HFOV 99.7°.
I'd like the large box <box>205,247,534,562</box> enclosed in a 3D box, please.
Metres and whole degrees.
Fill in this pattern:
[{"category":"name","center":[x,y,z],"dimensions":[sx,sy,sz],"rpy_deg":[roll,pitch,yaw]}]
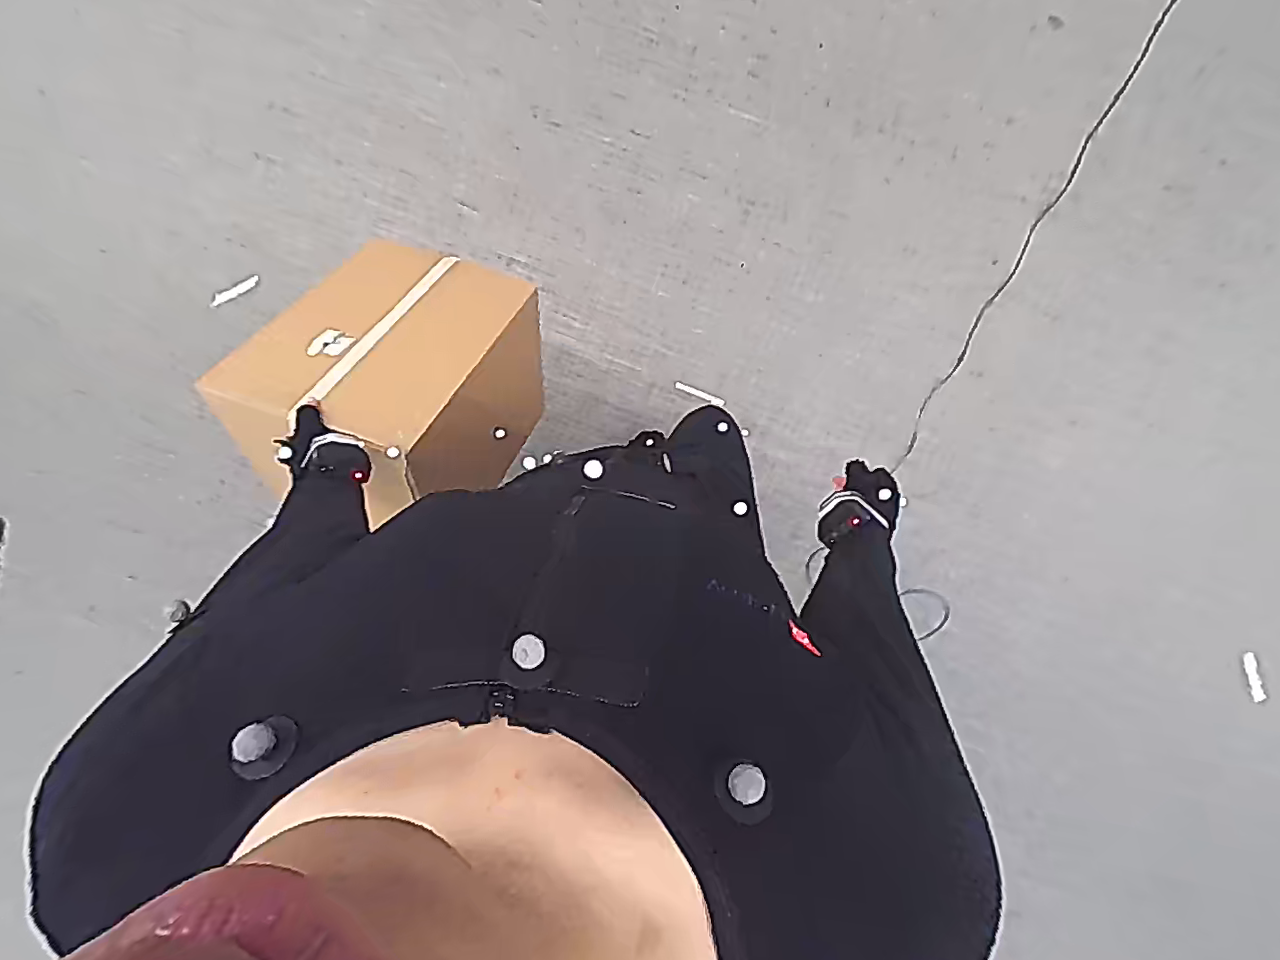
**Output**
[{"category":"large box","center":[-0.408,-0.133,0.953],"dimensions":[0.320,0.320,0.408],"rpy_deg":[17,54,6]}]
